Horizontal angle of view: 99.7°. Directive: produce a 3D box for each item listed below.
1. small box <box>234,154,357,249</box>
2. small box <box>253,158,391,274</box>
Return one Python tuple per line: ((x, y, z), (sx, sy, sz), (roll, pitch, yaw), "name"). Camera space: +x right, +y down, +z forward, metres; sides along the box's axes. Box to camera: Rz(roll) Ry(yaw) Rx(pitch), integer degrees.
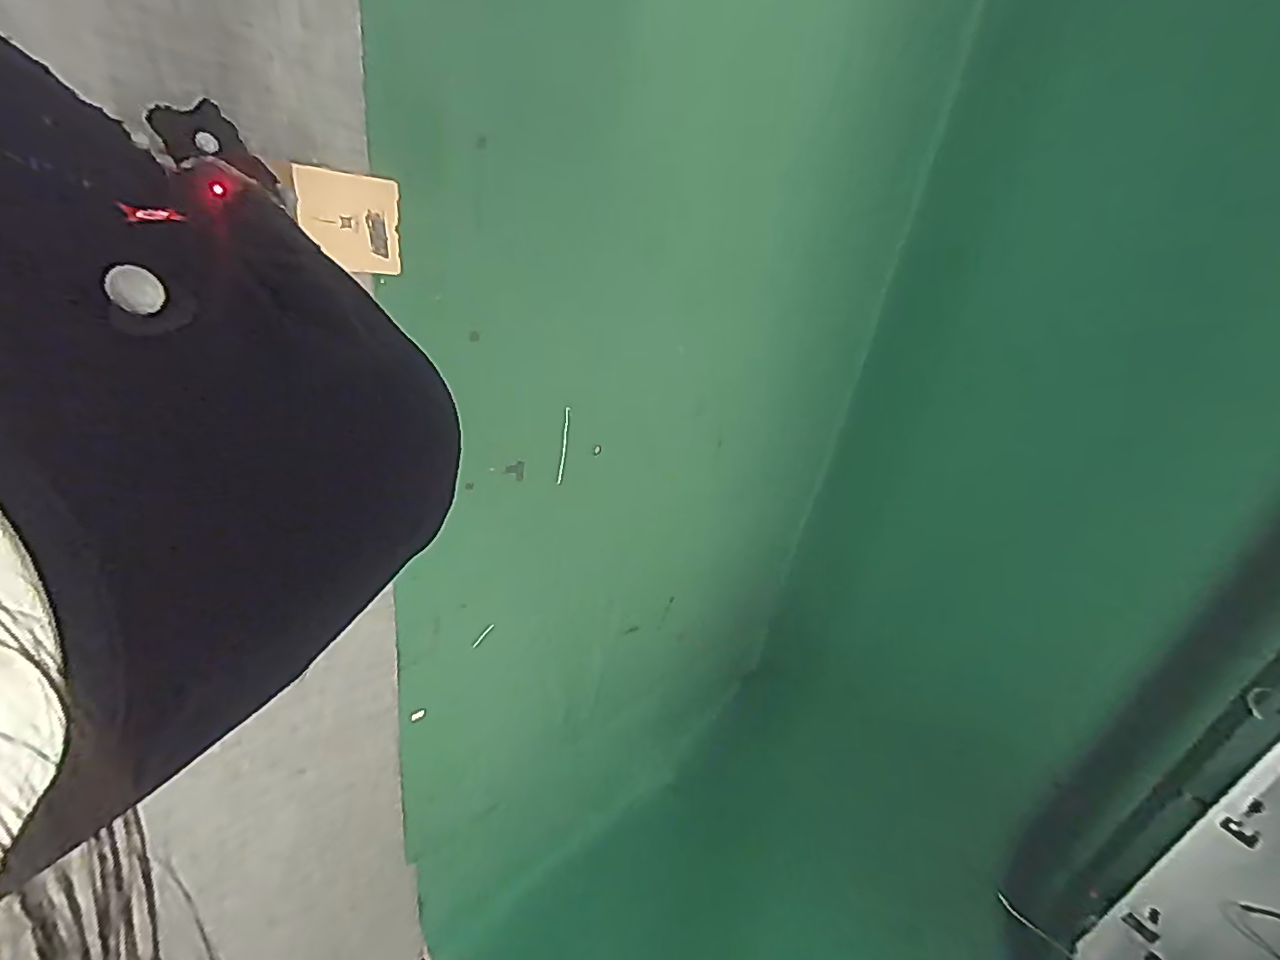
((-0.698, -0.562, 1.112), (0.179, 0.176, 0.168), (-18, 126, -42), "small box")
((-0.590, -0.492, 1.010), (0.179, 0.176, 0.168), (-15, 124, -44), "small box")
